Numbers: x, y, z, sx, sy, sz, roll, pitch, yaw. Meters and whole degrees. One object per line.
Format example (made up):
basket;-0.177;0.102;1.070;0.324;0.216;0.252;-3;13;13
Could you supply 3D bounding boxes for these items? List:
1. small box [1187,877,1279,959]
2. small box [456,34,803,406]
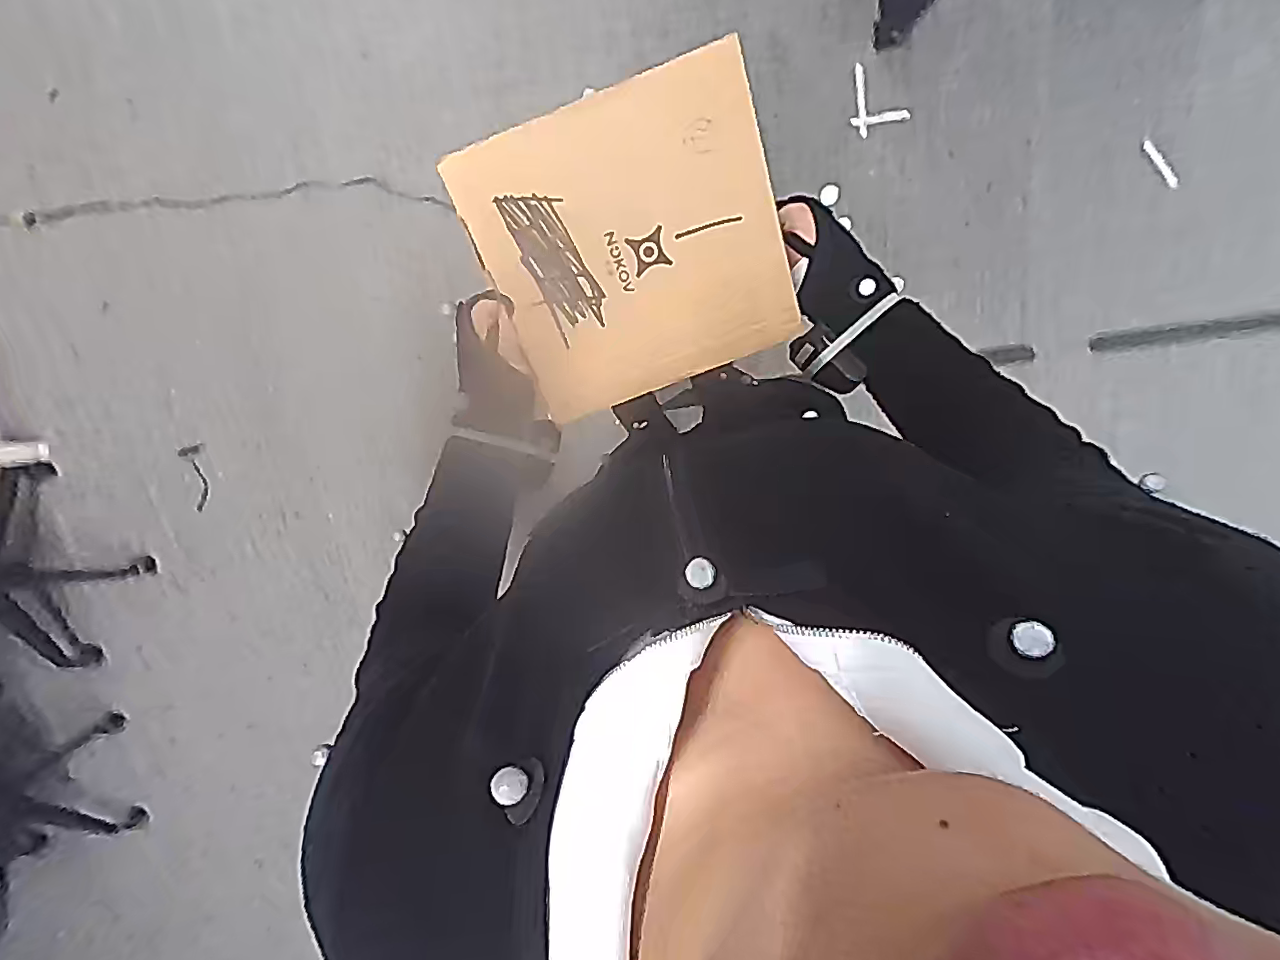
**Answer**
small box;1.393;1.049;1.217;0.168;0.176;0.179;-10;100;1
small box;-0.003;-0.177;0.400;0.179;0.176;0.168;-18;116;5
